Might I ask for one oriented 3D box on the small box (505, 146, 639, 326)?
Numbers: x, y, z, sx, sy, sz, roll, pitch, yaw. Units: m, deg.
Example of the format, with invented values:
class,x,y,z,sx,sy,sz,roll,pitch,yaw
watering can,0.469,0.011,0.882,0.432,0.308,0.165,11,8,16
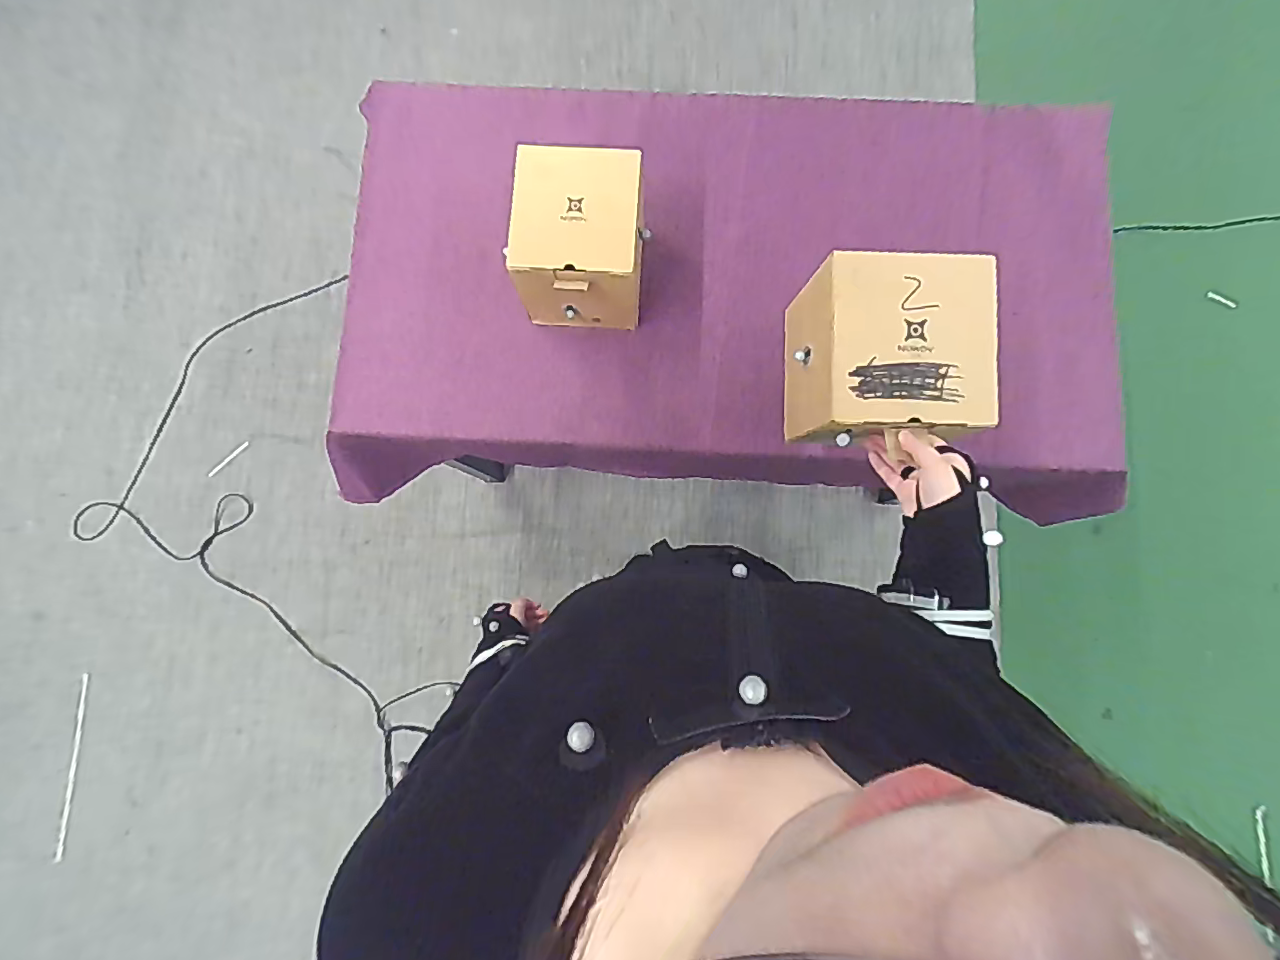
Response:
class,x,y,z,sx,sy,sz,roll,pitch,yaw
small box,-0.089,-0.346,0.792,0.168,0.176,0.179,3,83,1
